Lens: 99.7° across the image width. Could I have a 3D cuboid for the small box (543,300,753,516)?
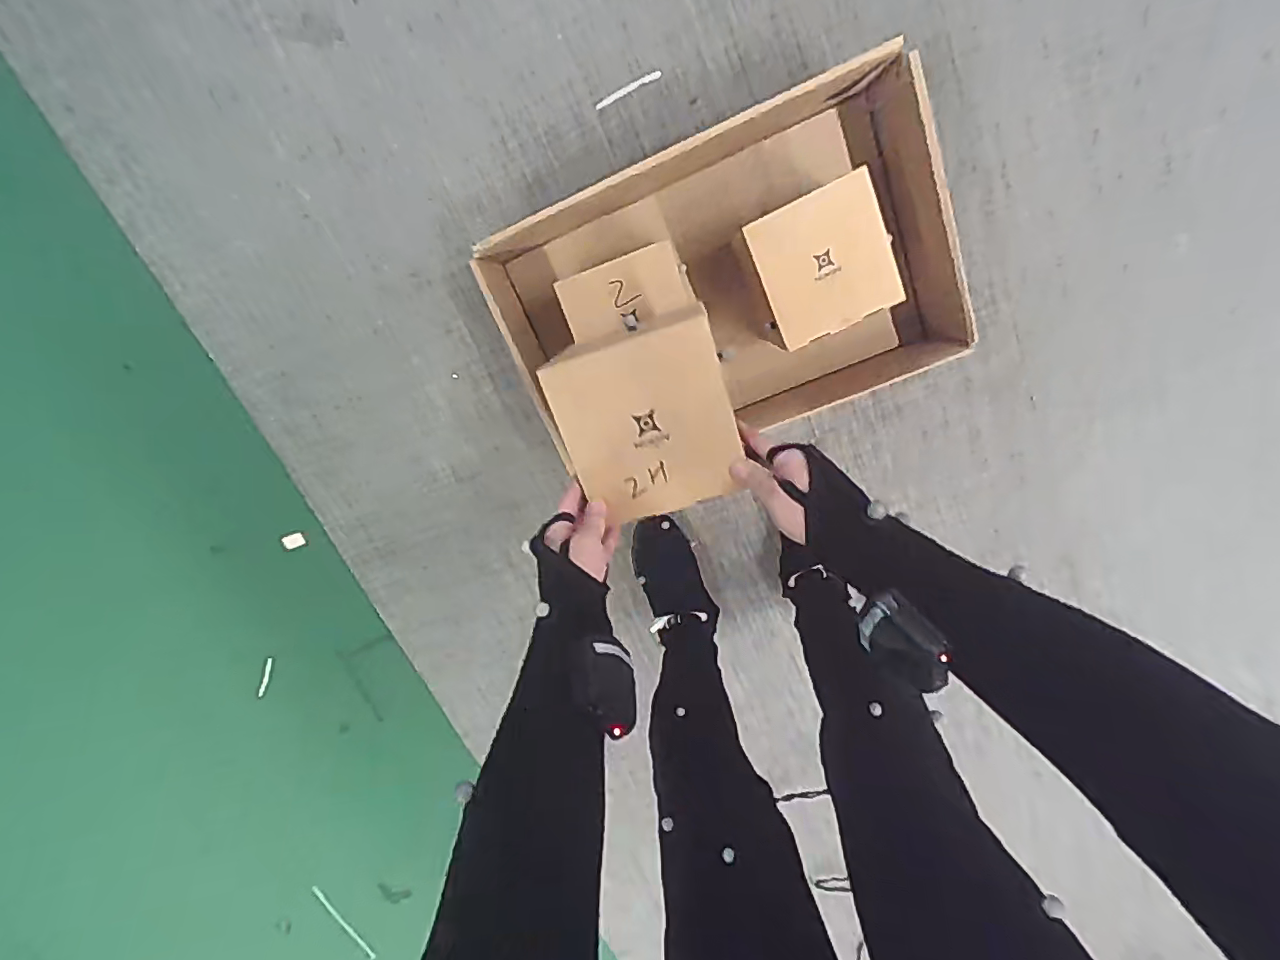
[{"bbox_3d":[0.016,-0.088,0.592,0.168,0.176,0.179,-15,111,12],"label":"small box"}]
